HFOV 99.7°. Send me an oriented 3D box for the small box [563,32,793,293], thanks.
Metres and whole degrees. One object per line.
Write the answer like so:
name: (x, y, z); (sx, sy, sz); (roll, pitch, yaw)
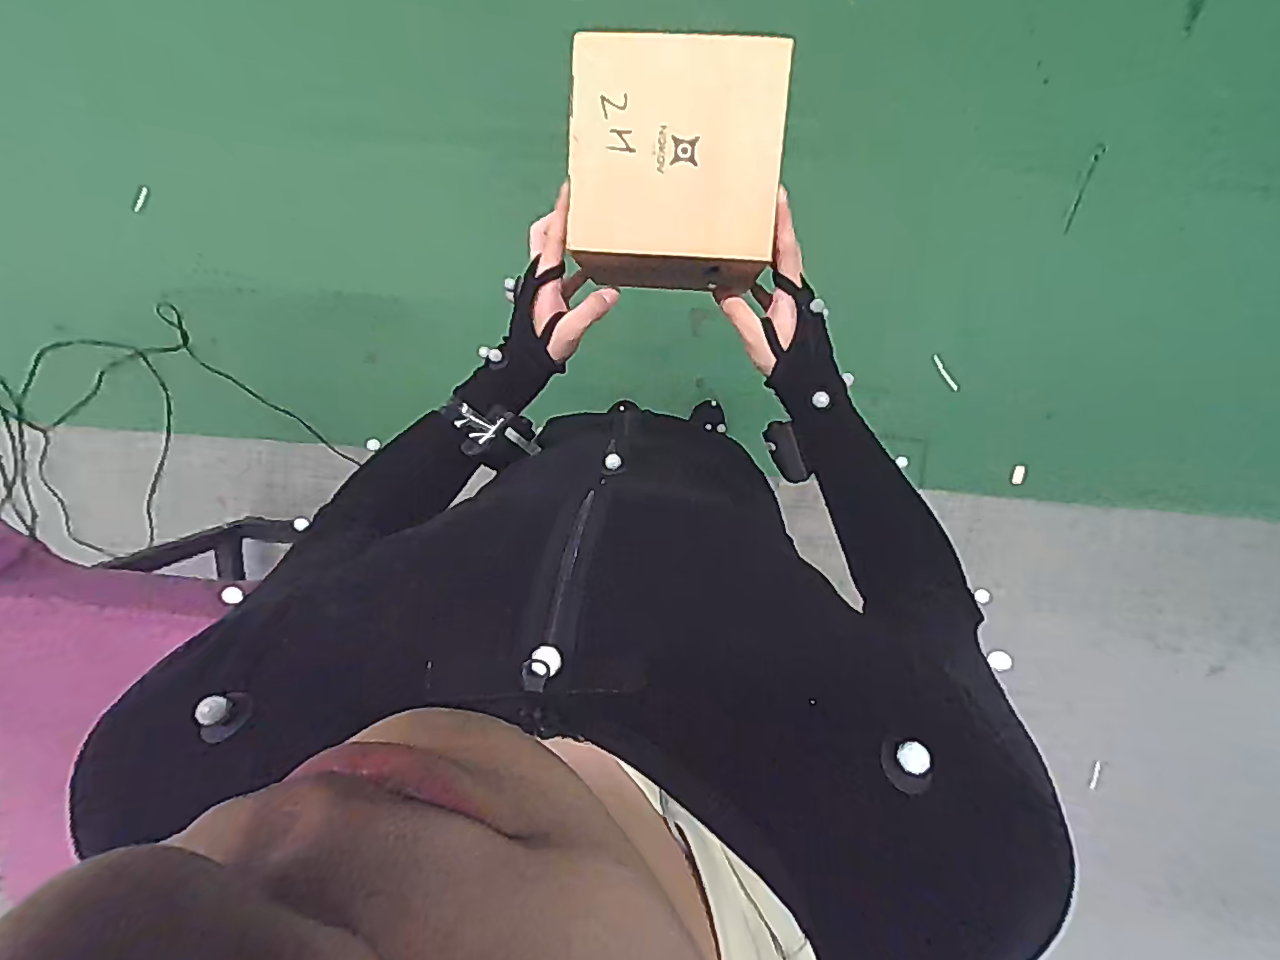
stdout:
small box: (0.032, -0.280, 0.517); (0.179, 0.176, 0.168); (5, 100, 3)
